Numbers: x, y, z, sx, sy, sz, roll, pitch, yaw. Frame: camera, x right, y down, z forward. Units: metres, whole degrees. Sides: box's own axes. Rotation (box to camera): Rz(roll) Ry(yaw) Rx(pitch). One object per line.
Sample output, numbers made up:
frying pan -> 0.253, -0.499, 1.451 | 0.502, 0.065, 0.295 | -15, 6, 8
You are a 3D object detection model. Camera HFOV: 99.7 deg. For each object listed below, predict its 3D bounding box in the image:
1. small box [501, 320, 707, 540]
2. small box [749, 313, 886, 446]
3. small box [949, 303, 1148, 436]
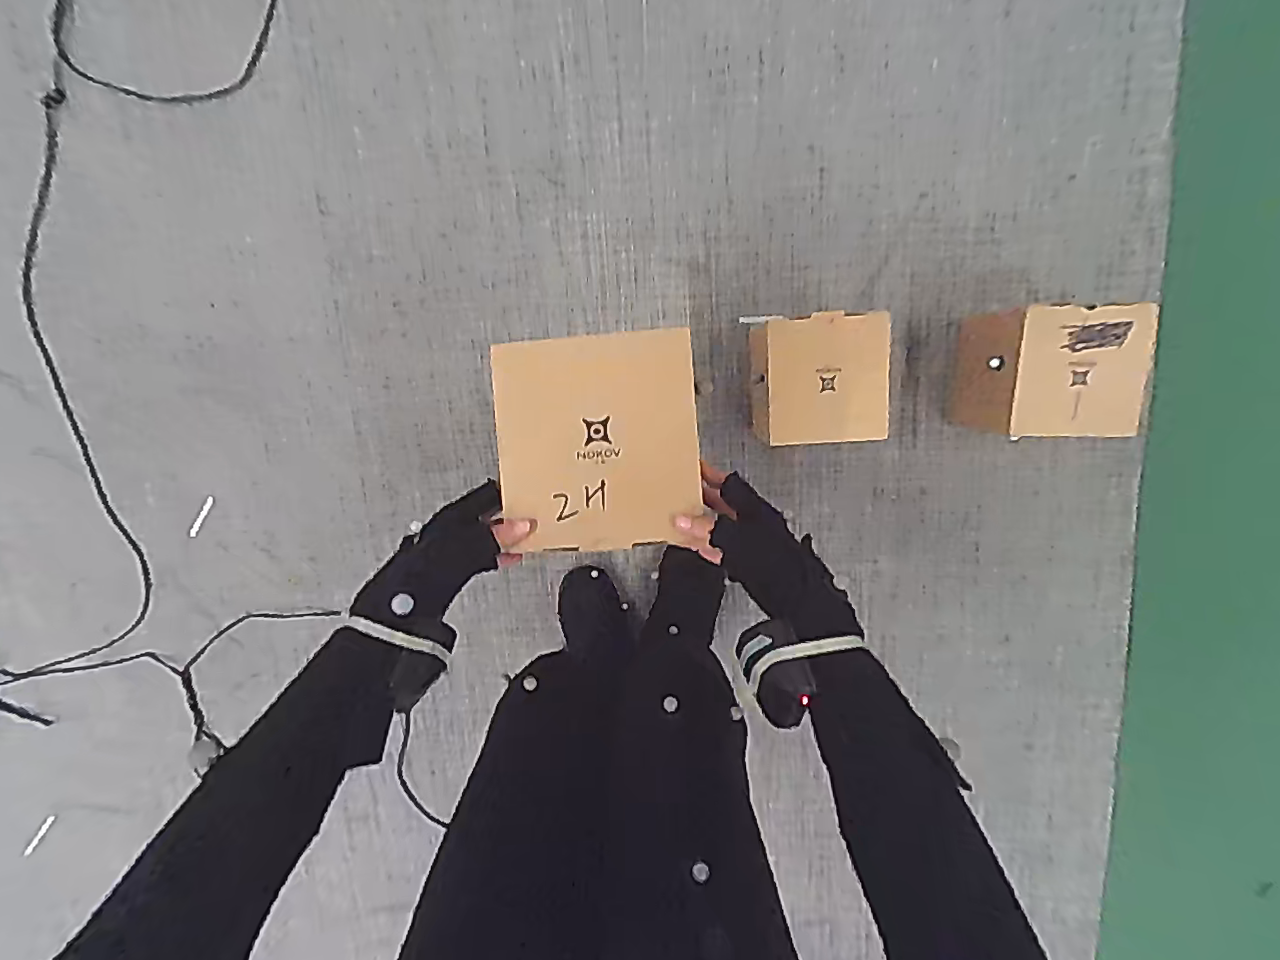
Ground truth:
small box -> -0.026, -0.041, 0.531 | 0.168, 0.176, 0.179 | -5, 91, 5
small box -> 0.261, -0.151, 0.828 | 0.168, 0.176, 0.179 | -3, 98, 4
small box -> 0.586, -0.160, 0.803 | 0.168, 0.176, 0.179 | 1, 101, 4
